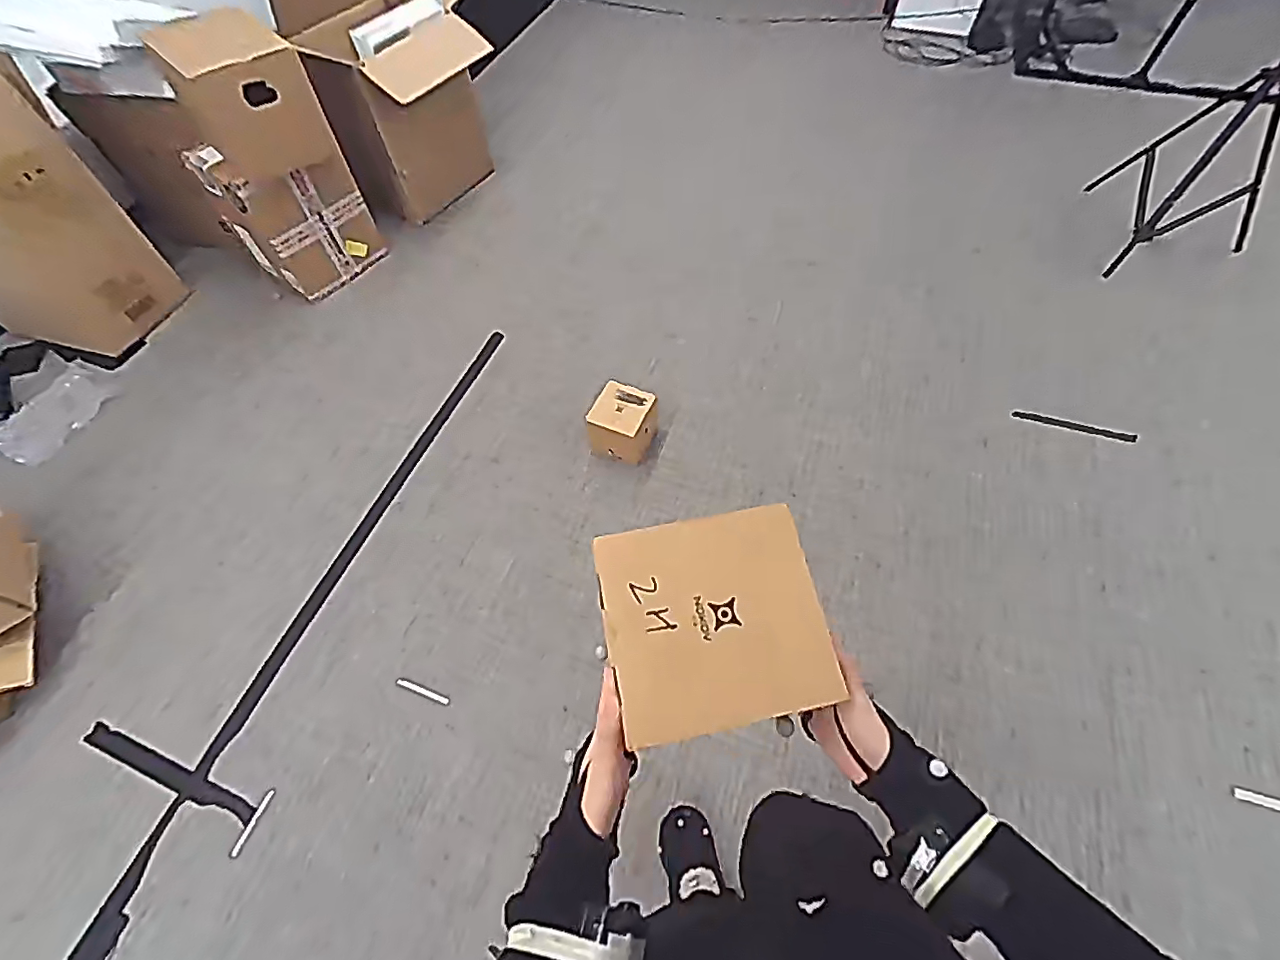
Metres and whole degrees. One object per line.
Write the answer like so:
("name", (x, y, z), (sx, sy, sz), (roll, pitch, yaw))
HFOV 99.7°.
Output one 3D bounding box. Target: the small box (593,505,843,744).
("small box", (0.056, 0.138, 0.509), (0.179, 0.176, 0.168), (-10, 68, -5))
